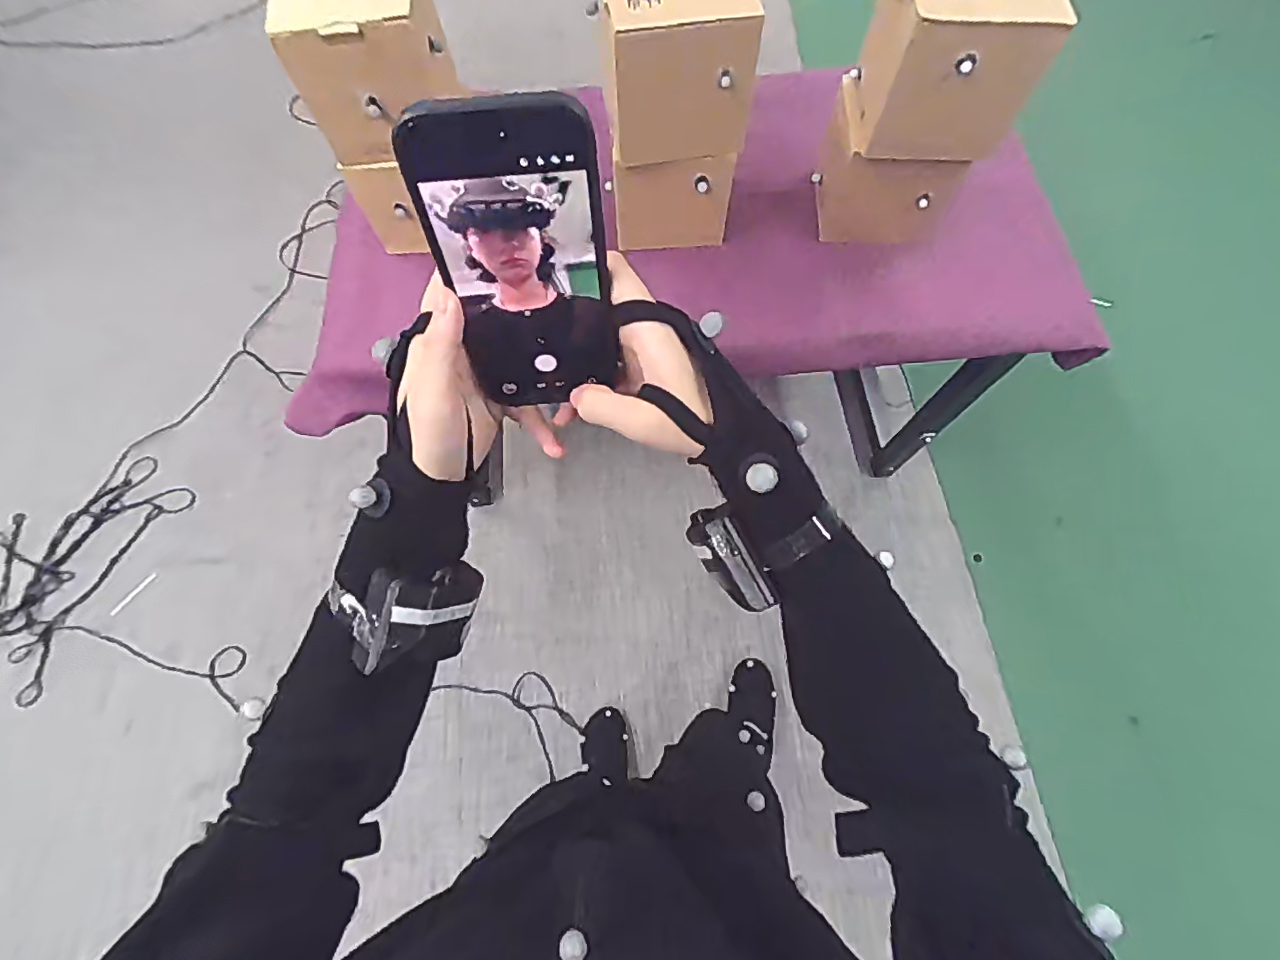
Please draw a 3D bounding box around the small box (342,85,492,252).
[{"bbox_3d":[-0.344,-0.488,0.869,0.168,0.176,0.179,-3,69,0],"label":"small box"}]

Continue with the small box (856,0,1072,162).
[{"bbox_3d":[0.394,-0.543,0.700,0.179,0.176,0.168,2,69,2],"label":"small box"}]

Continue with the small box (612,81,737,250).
[{"bbox_3d":[0.048,-0.492,0.861,0.179,0.176,0.168,-3,69,0],"label":"small box"}]

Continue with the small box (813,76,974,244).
[{"bbox_3d":[0.388,-0.498,0.857,0.179,0.176,0.168,2,68,2],"label":"small box"}]

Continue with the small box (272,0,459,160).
[{"bbox_3d":[-0.347,-0.555,0.718,0.168,0.176,0.179,-7,70,-2],"label":"small box"}]
